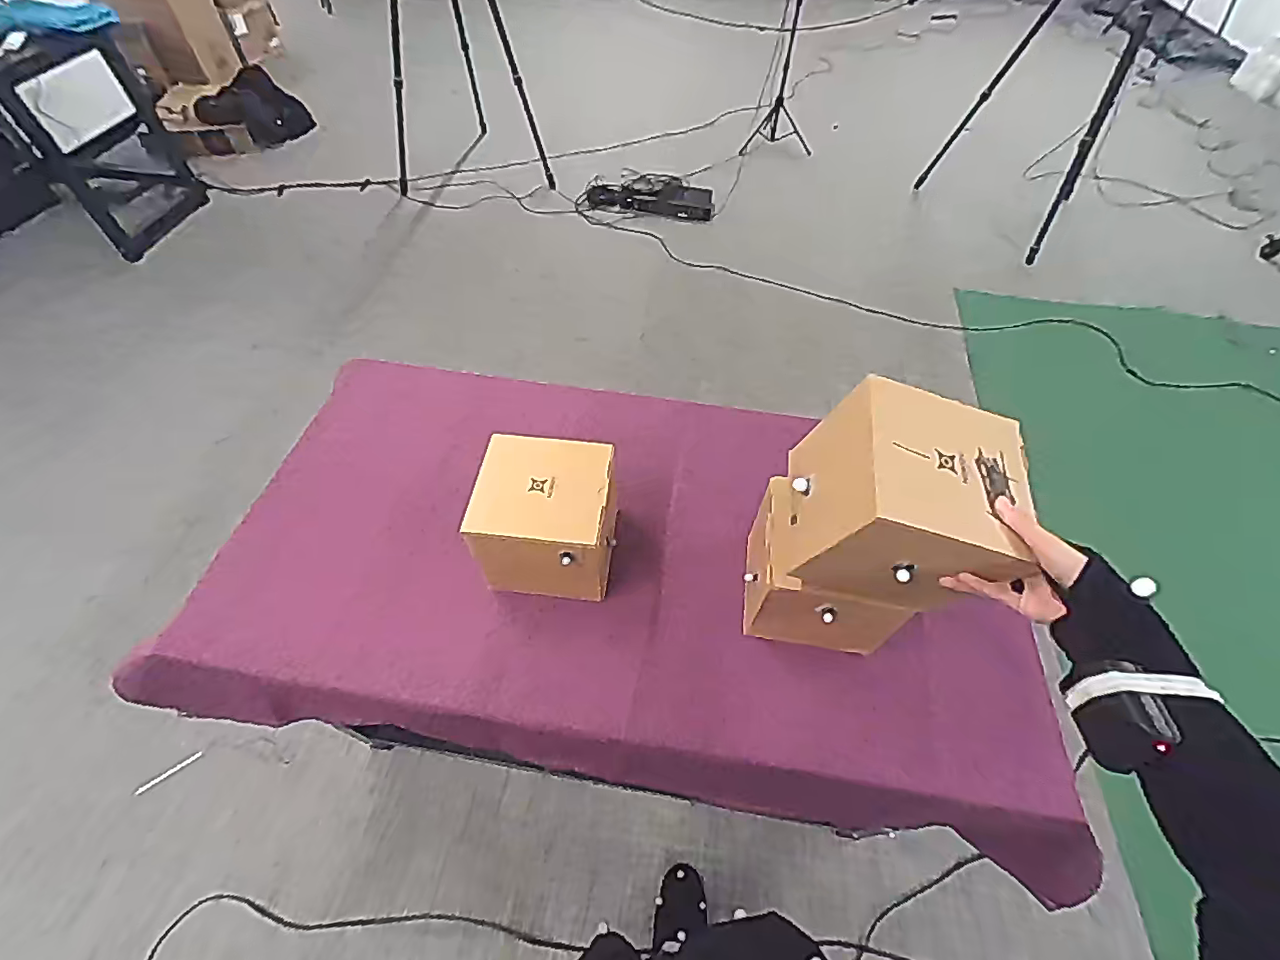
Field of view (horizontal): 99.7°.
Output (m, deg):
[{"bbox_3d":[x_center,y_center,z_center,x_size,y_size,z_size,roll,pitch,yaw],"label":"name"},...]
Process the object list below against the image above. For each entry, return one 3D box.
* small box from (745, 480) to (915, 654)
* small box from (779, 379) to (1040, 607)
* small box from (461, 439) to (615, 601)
[{"bbox_3d":[0.246,0.123,0.742,0.179,0.176,0.168,9,54,4],"label":"small box"},{"bbox_3d":[0.272,0.026,0.581,0.179,0.176,0.168,16,60,-7],"label":"small box"},{"bbox_3d":[-0.132,0.062,0.781,0.179,0.176,0.168,5,53,2],"label":"small box"}]
